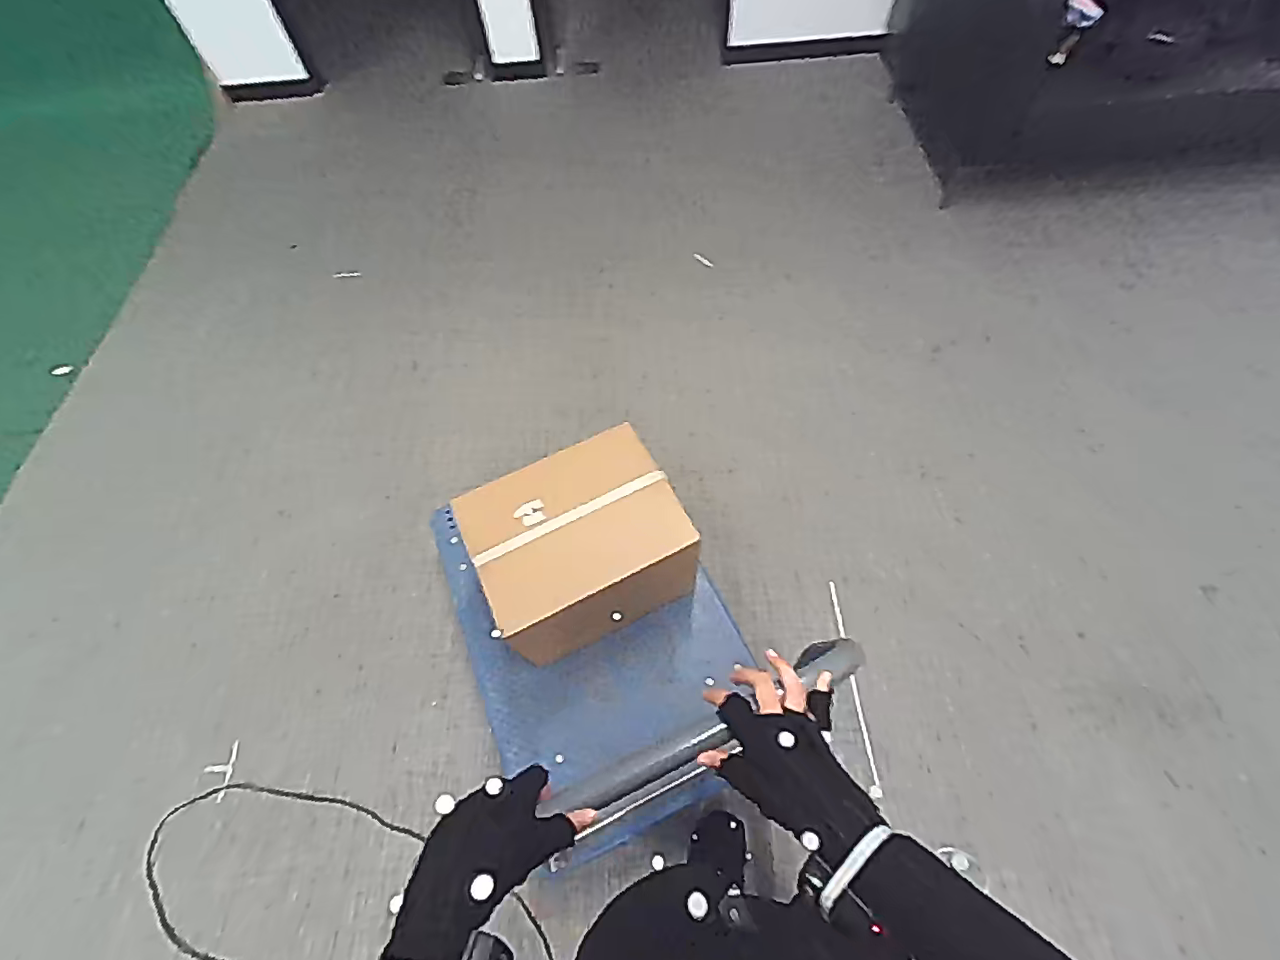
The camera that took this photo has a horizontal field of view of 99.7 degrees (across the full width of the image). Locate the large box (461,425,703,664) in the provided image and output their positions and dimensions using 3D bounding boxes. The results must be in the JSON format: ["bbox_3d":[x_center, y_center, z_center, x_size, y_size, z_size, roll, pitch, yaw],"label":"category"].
[{"bbox_3d":[-0.111,0.150,1.190,0.408,0.320,0.320,-26,62,-10],"label":"large box"}]
